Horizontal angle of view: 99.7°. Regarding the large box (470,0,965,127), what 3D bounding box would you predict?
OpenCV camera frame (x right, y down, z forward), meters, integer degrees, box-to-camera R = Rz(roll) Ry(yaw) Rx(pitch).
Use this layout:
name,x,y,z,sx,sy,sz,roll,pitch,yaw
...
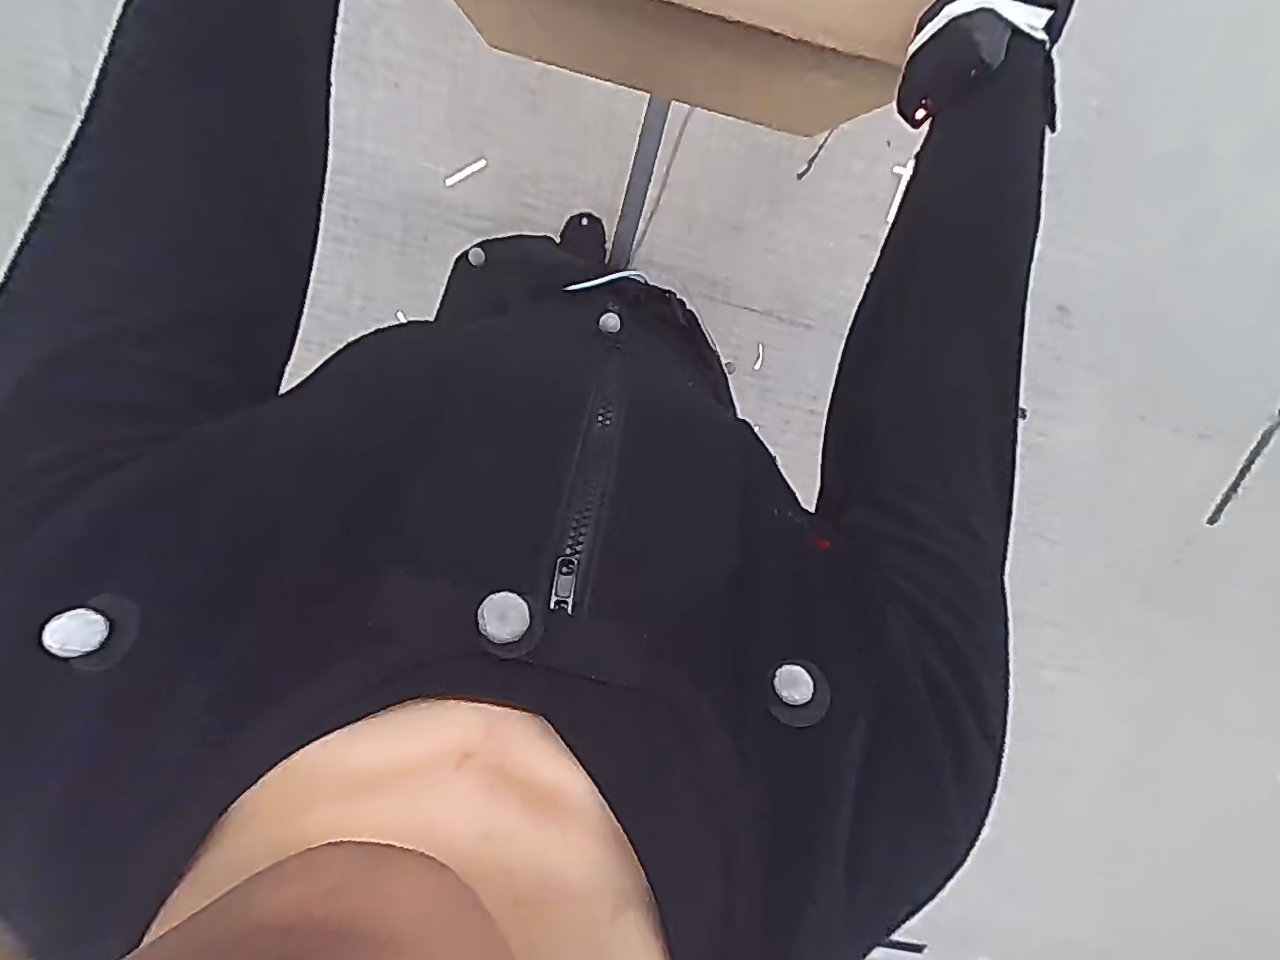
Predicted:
name,x,y,z,sx,sy,sz,roll,pitch,yaw
large box,0.060,-0.544,0.456,0.408,0.320,0.320,11,115,-7
